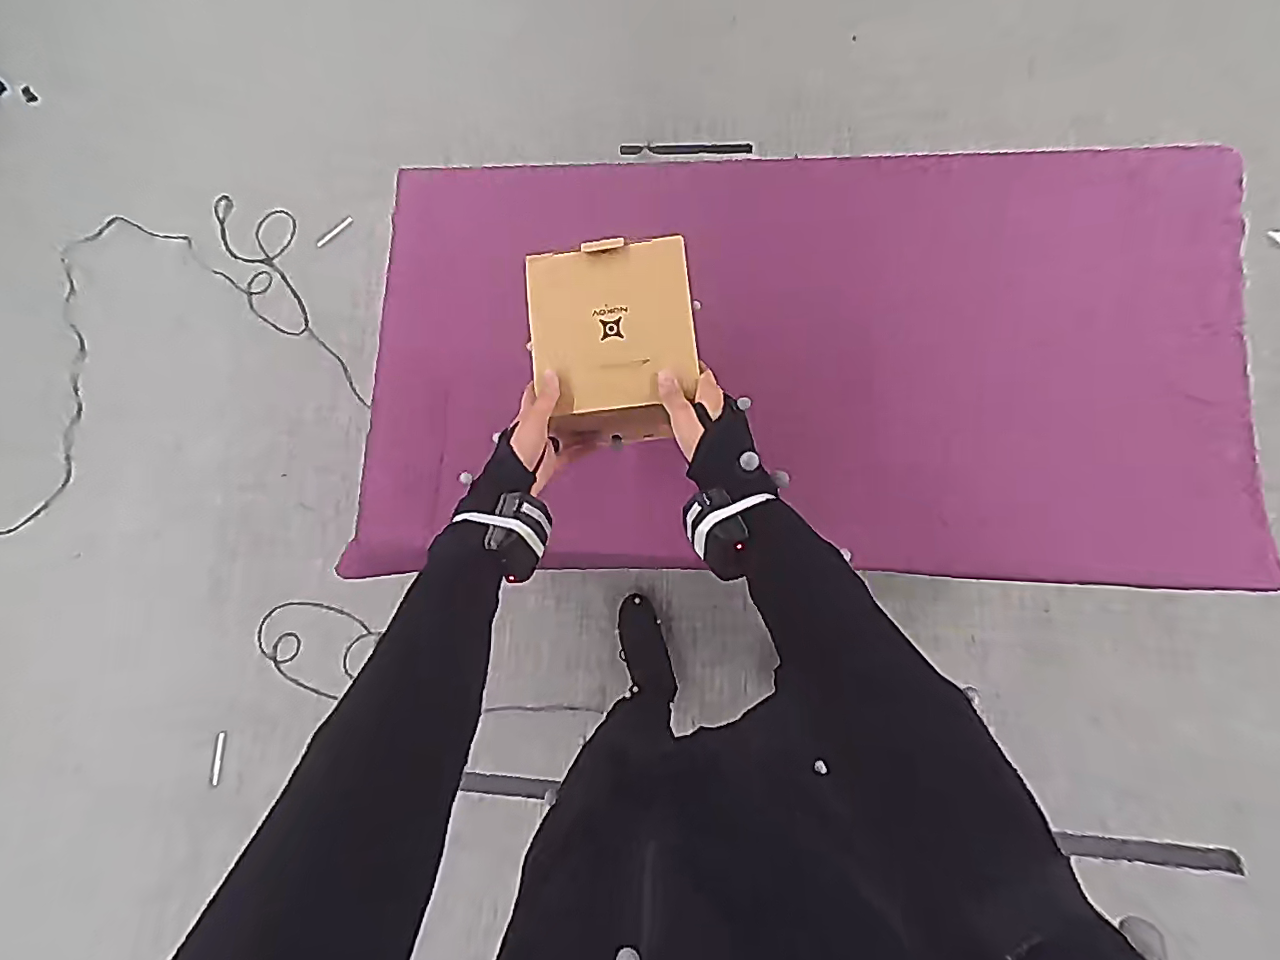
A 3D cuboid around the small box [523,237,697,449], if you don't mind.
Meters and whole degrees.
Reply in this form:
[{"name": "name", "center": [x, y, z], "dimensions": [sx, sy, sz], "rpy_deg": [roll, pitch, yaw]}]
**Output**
[{"name": "small box", "center": [-0.028, -0.141, 0.611], "dimensions": [0.168, 0.176, 0.179], "rpy_deg": [-5, 82, 4]}]
